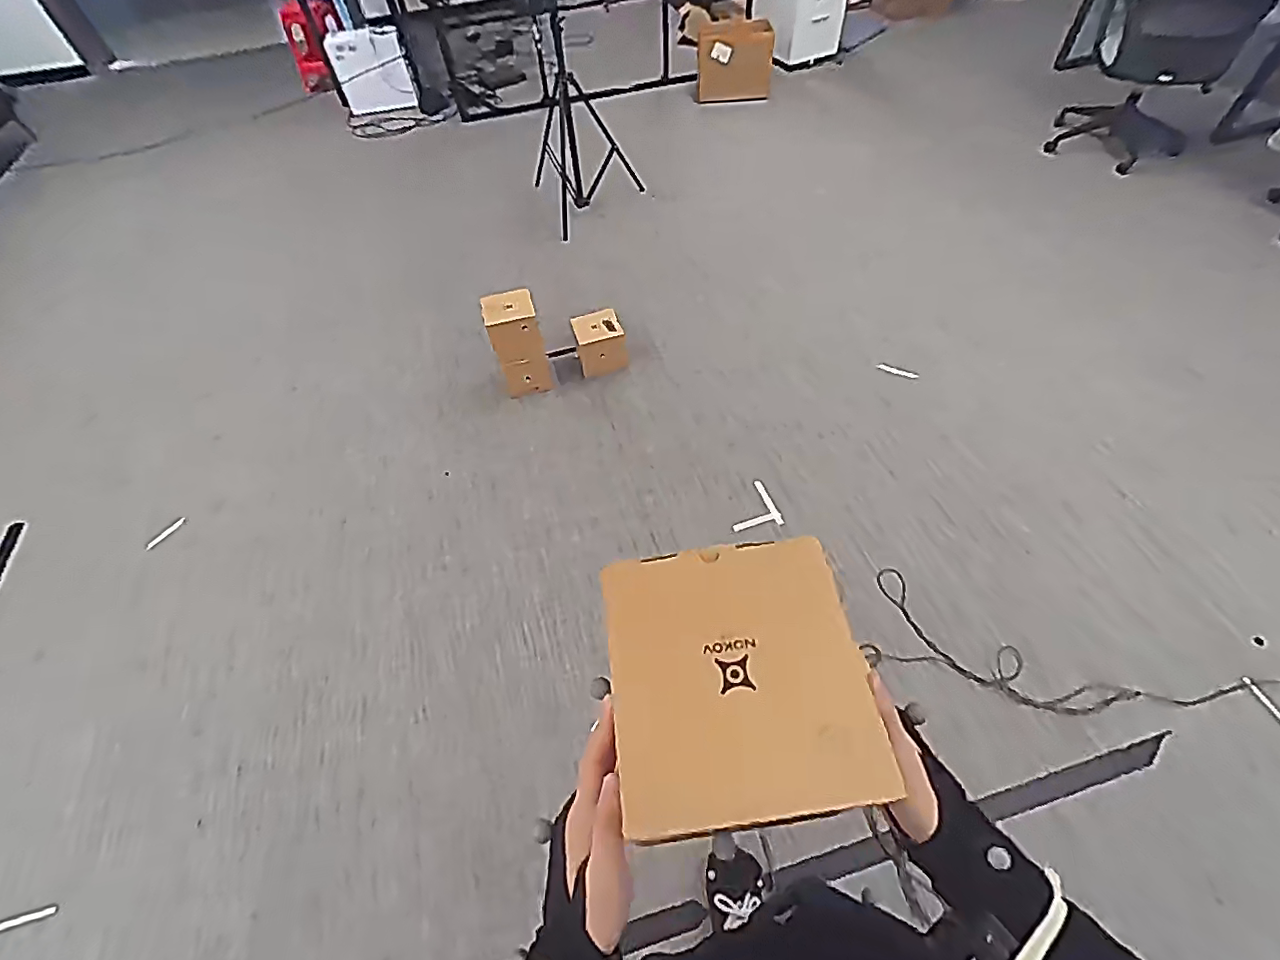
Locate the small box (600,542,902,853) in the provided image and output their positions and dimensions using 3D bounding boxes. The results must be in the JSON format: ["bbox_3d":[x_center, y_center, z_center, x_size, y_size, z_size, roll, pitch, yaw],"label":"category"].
[{"bbox_3d":[0.066,0.173,0.419,0.168,0.176,0.179,-8,54,-1],"label":"small box"}]

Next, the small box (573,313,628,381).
[{"bbox_3d":[-0.149,-0.513,2.094,0.179,0.176,0.168,-16,55,-6],"label":"small box"}]

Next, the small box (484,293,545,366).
[{"bbox_3d":[-0.442,-0.532,1.927,0.179,0.176,0.168,-15,53,-6],"label":"small box"}]
